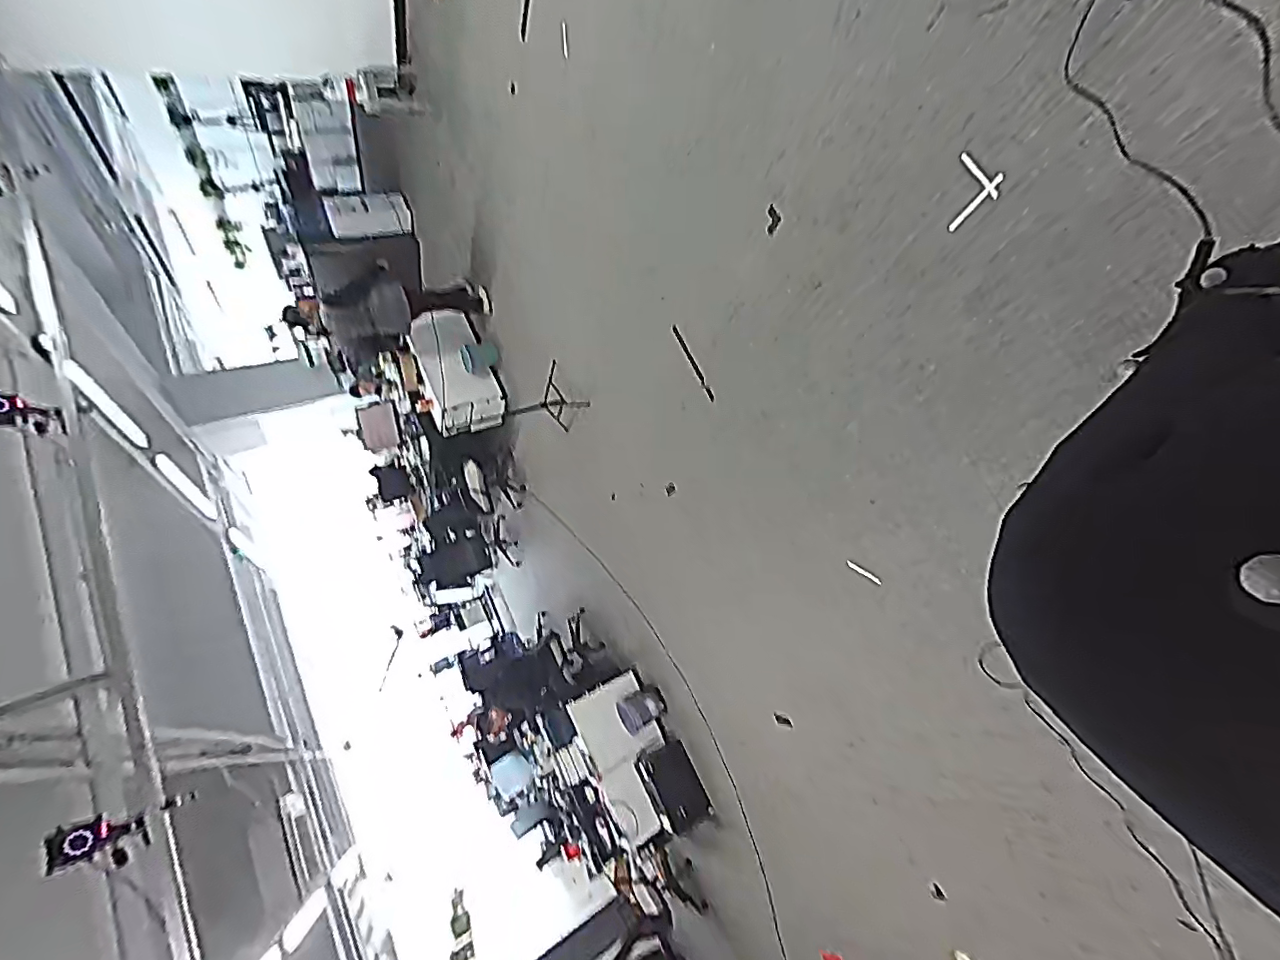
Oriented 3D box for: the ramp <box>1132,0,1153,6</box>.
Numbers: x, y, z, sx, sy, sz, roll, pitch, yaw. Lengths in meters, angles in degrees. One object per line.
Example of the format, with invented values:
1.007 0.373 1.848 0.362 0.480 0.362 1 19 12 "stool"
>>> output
0.731 -1.367 0.867 0.991 0.206 0.509 63 151 15 "ramp"
